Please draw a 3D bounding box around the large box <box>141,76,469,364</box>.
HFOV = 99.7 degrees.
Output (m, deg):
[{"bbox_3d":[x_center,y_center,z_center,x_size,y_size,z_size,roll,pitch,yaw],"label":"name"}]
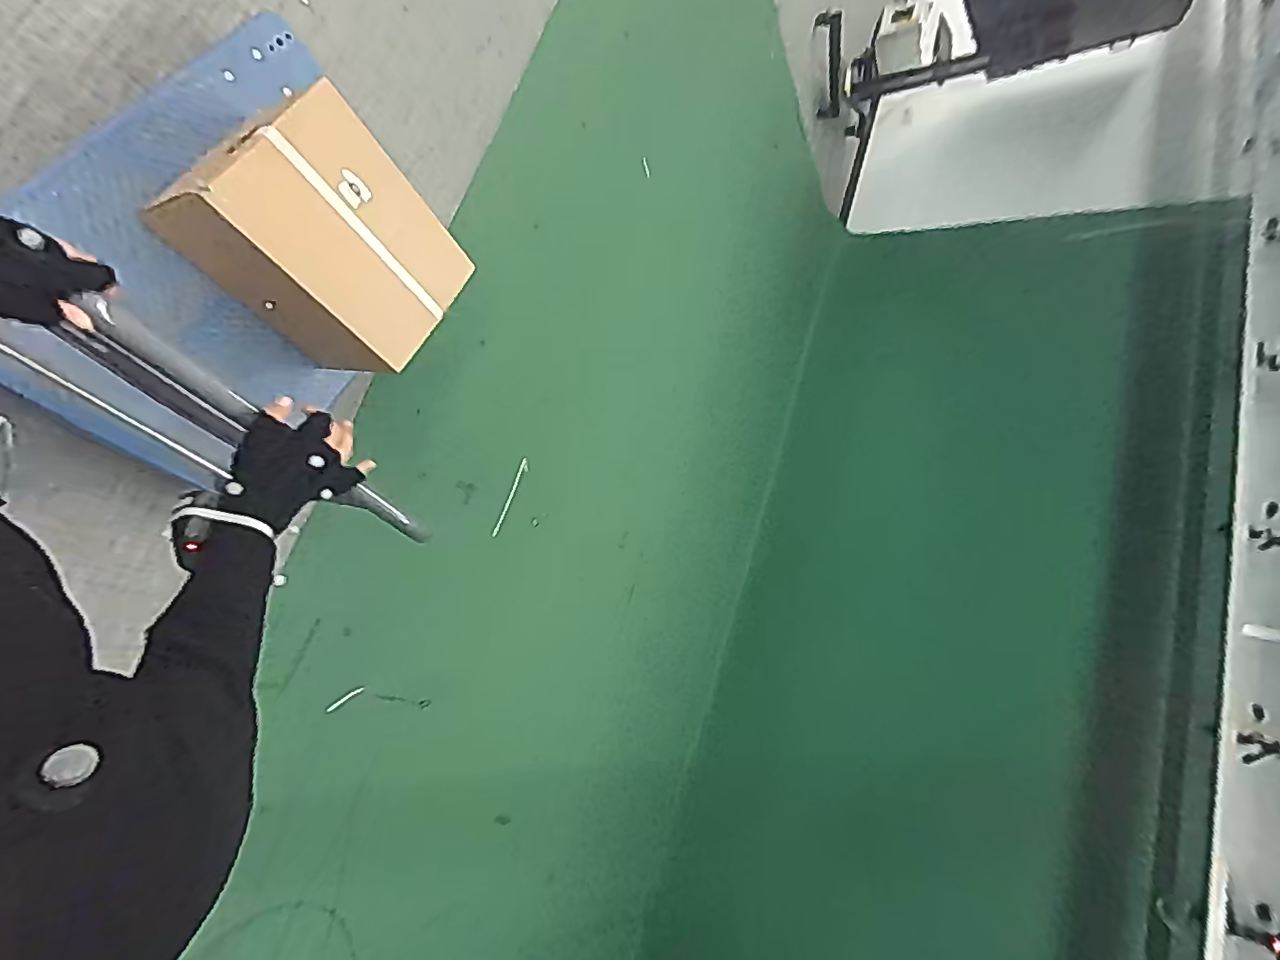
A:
[{"bbox_3d":[-0.647,-0.484,1.096,0.408,0.320,0.320,51,56,-48],"label":"large box"}]
